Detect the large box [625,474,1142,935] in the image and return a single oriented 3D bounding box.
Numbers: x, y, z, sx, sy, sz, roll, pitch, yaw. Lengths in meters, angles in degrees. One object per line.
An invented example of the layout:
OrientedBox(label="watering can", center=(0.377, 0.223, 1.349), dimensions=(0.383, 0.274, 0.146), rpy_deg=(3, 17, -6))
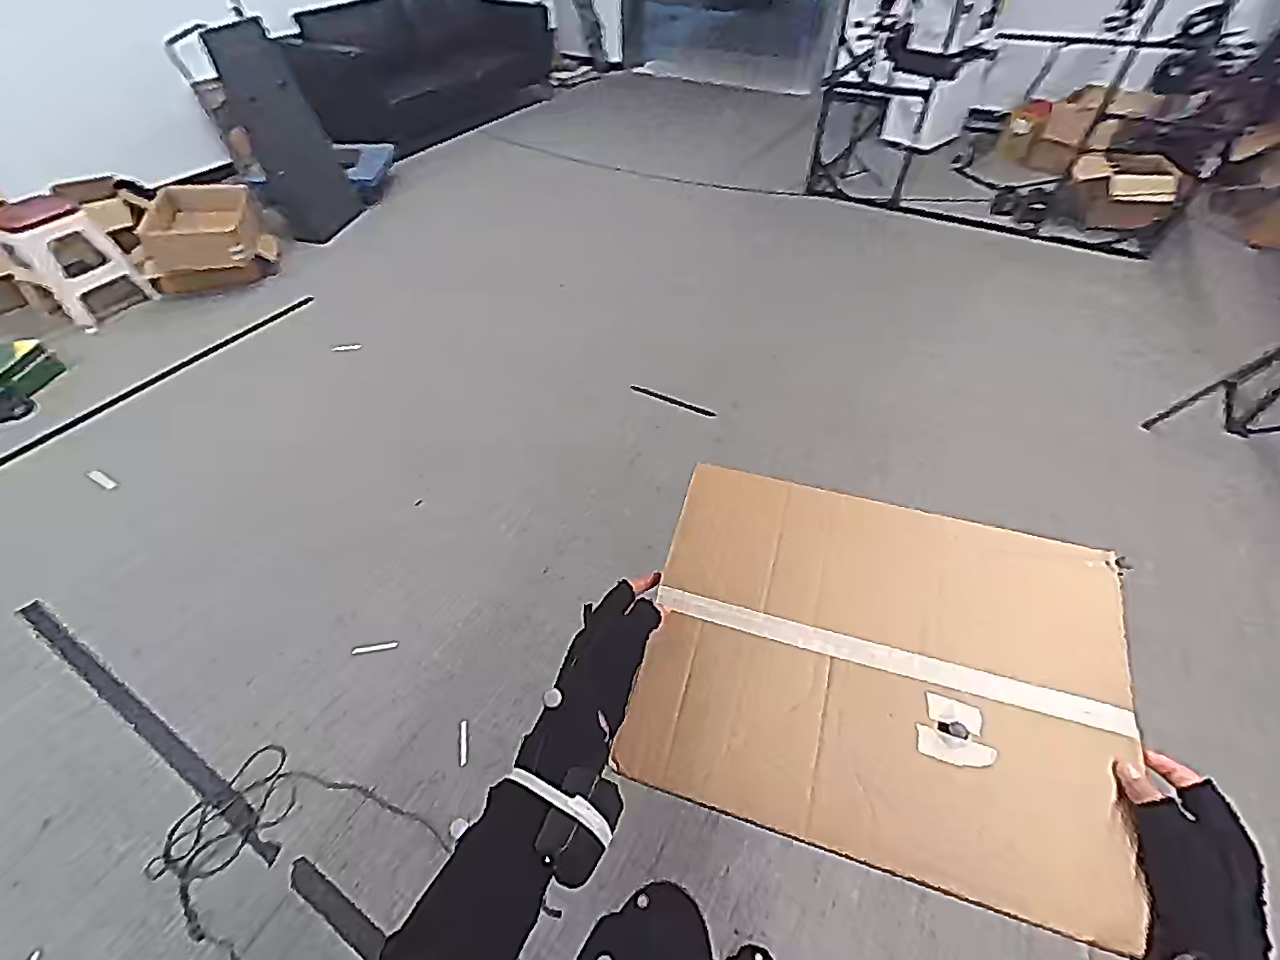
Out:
OrientedBox(label="large box", center=(0.225, 0.233, 0.624), dimensions=(0.408, 0.320, 0.320), rpy_deg=(13, 64, 12))
